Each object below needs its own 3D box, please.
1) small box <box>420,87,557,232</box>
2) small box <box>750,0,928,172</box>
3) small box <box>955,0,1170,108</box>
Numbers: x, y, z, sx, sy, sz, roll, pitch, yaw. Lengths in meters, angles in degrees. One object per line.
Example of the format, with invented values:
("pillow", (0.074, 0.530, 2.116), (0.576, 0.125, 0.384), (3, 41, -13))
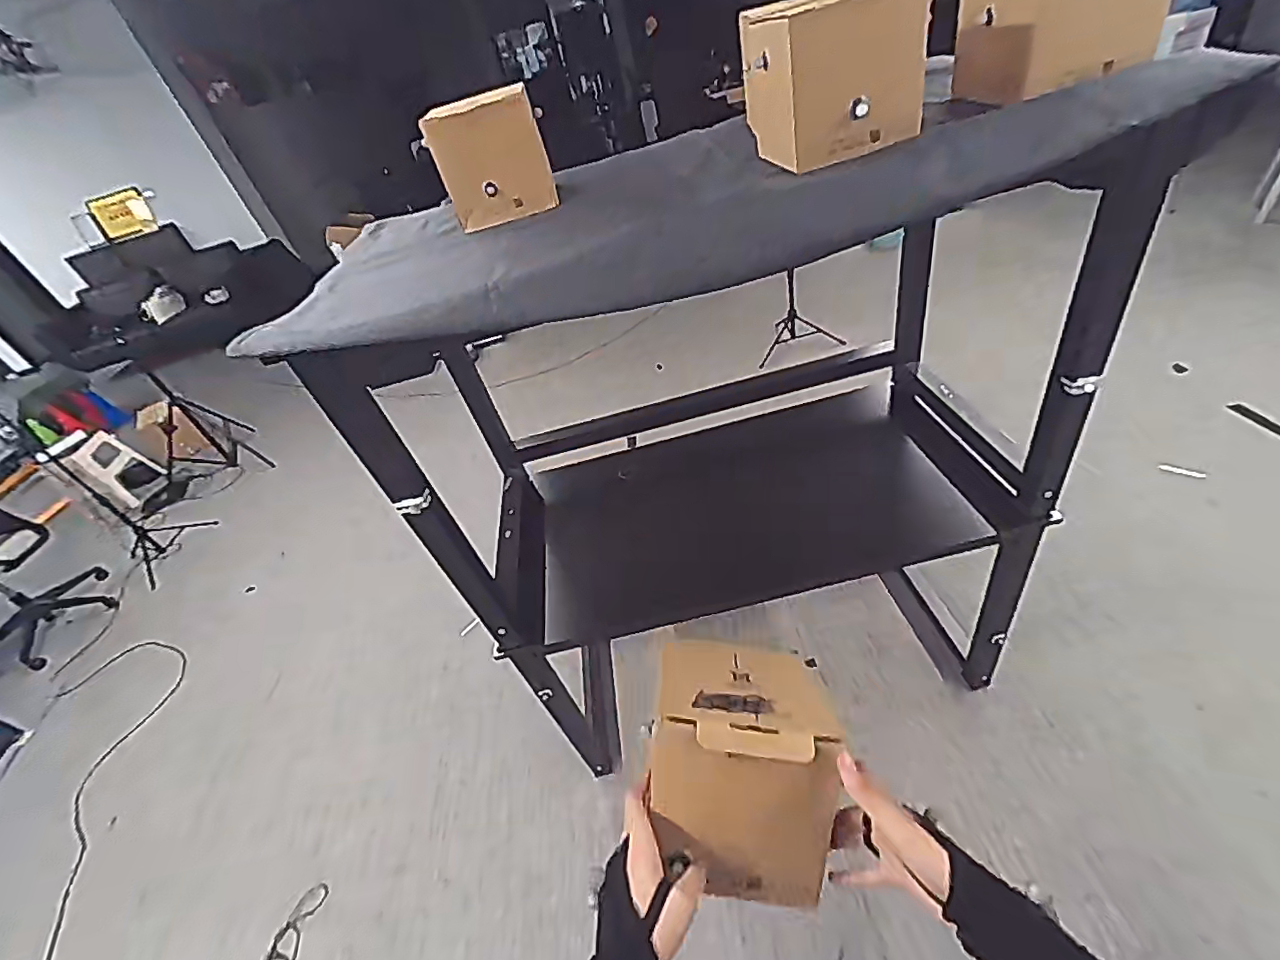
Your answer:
("small box", (-0.247, -0.545, 0.924), (0.168, 0.176, 0.179), (-16, 41, 2))
("small box", (0.255, -0.532, 0.725), (0.168, 0.176, 0.179), (-15, 39, 3))
("small box", (0.544, -0.609, 0.710), (0.168, 0.176, 0.179), (-15, 39, 5))
